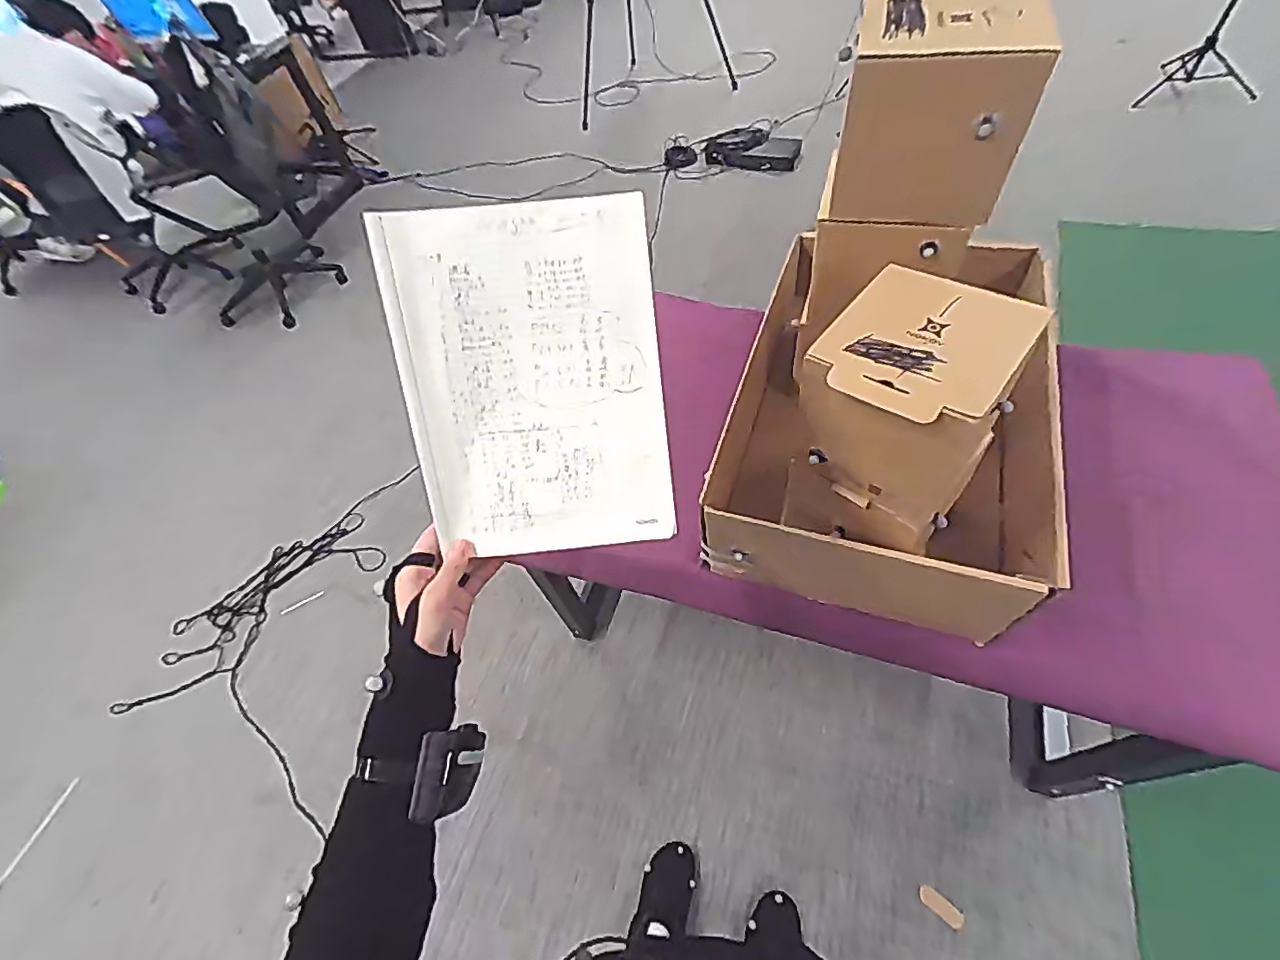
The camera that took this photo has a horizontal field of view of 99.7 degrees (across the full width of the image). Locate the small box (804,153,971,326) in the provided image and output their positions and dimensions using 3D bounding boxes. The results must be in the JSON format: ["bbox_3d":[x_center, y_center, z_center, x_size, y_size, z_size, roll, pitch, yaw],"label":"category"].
[{"bbox_3d":[0.330,-0.320,0.743,0.179,0.176,0.168,11,59,16],"label":"small box"}]

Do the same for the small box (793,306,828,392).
[{"bbox_3d":[0.350,-0.235,0.878,0.168,0.176,0.179,13,60,18],"label":"small box"}]

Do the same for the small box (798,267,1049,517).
[{"bbox_3d":[0.286,-0.092,0.582,0.168,0.176,0.179,32,64,29],"label":"small box"}]
